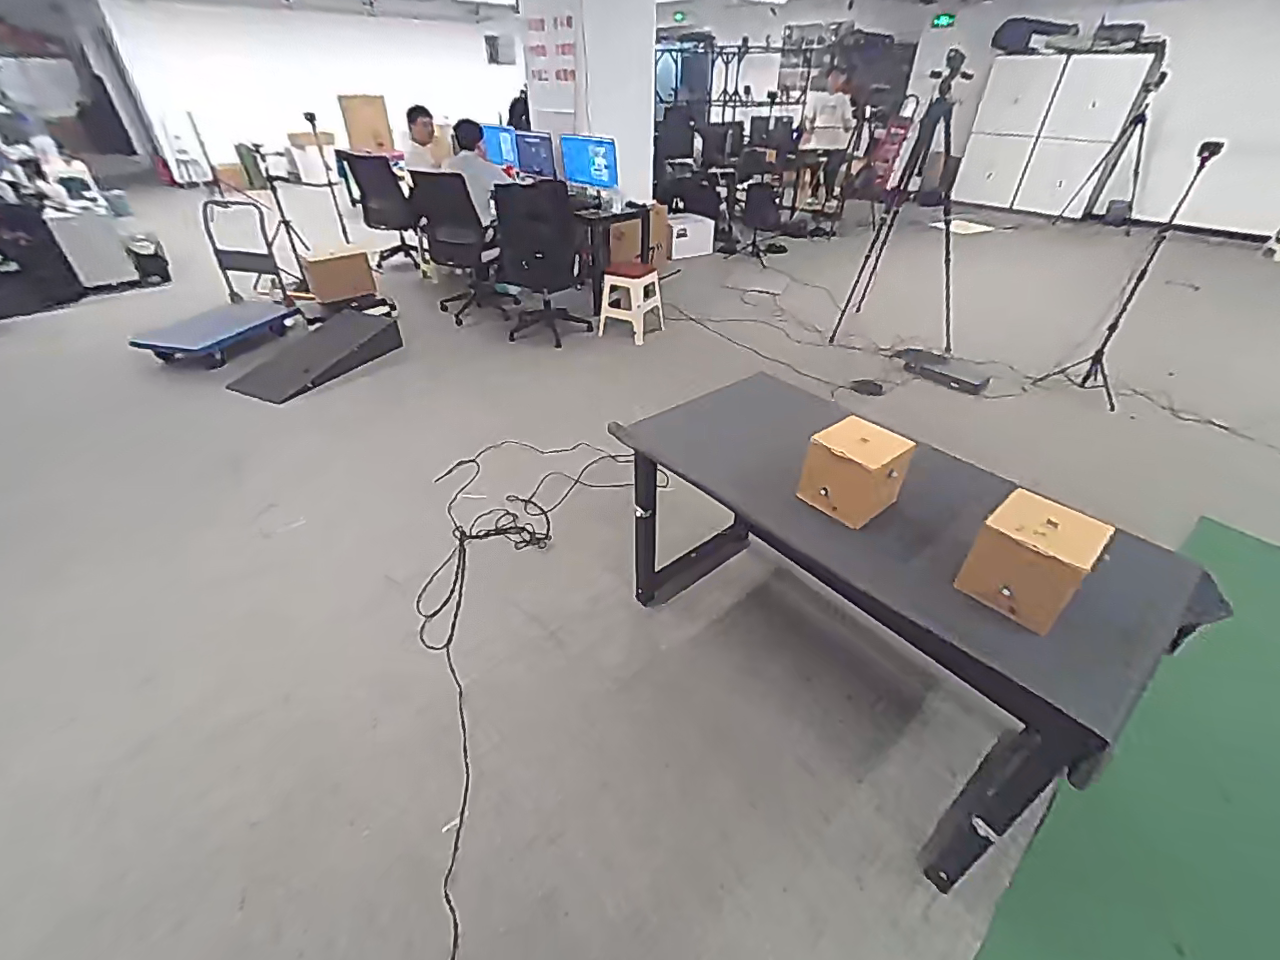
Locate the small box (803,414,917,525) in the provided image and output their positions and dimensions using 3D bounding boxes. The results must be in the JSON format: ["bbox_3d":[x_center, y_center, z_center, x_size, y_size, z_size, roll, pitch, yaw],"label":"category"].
[{"bbox_3d":[0.503,-0.027,1.262,0.179,0.176,0.168,-27,44,-31],"label":"small box"}]

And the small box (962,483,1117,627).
[{"bbox_3d":[0.747,0.139,1.026,0.179,0.176,0.168,-28,43,-32],"label":"small box"}]
